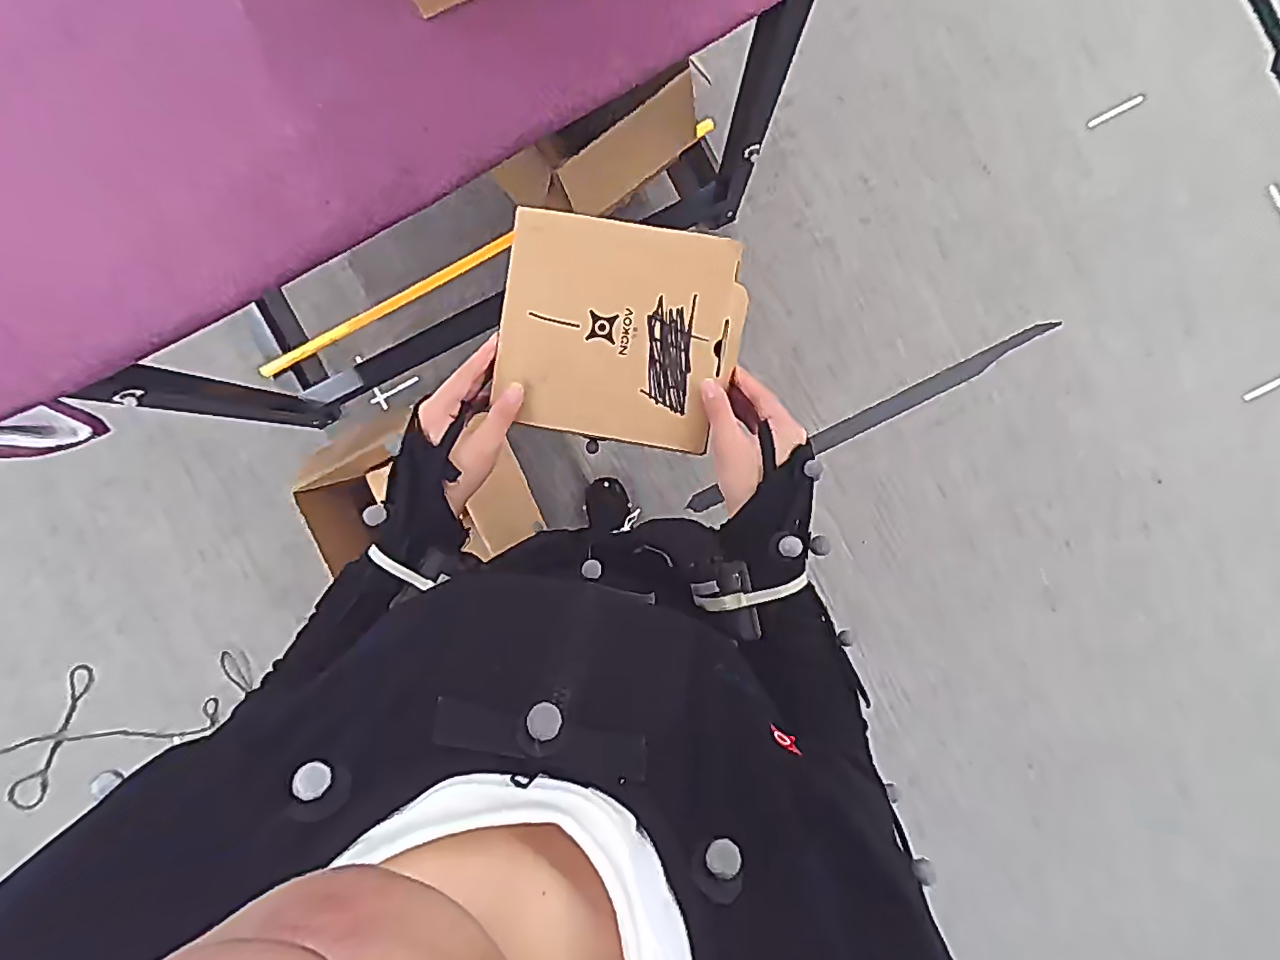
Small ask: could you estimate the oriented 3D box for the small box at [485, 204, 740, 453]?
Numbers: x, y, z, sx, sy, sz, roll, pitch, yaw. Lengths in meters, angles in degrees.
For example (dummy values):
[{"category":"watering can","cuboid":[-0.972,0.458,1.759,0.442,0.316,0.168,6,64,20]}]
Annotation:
[{"category":"small box","cuboid":[-0.021,-0.121,0.494,0.179,0.176,0.168,10,94,1]}]
